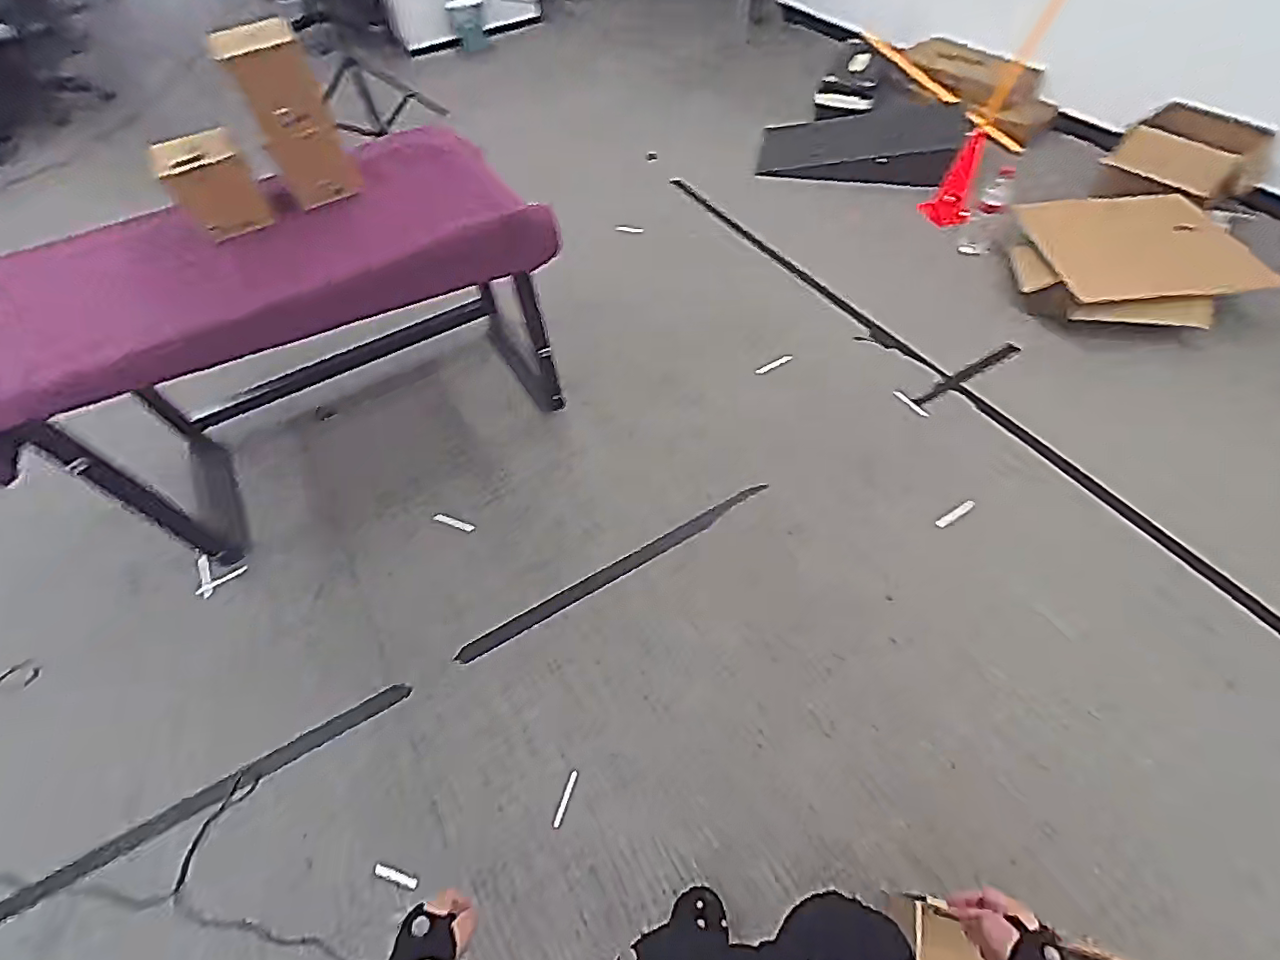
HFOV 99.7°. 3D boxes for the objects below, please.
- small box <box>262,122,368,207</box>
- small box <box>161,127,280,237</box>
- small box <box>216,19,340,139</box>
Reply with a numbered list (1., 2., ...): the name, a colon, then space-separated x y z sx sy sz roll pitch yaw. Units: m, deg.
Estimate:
1. small box: -0.841 -0.845 1.404 0.168 0.176 0.179 -28 60 -14
2. small box: -1.029 -0.727 1.336 0.168 0.176 0.179 -28 59 -15
3. small box: -0.846 -0.941 1.273 0.168 0.176 0.179 -30 61 -15
